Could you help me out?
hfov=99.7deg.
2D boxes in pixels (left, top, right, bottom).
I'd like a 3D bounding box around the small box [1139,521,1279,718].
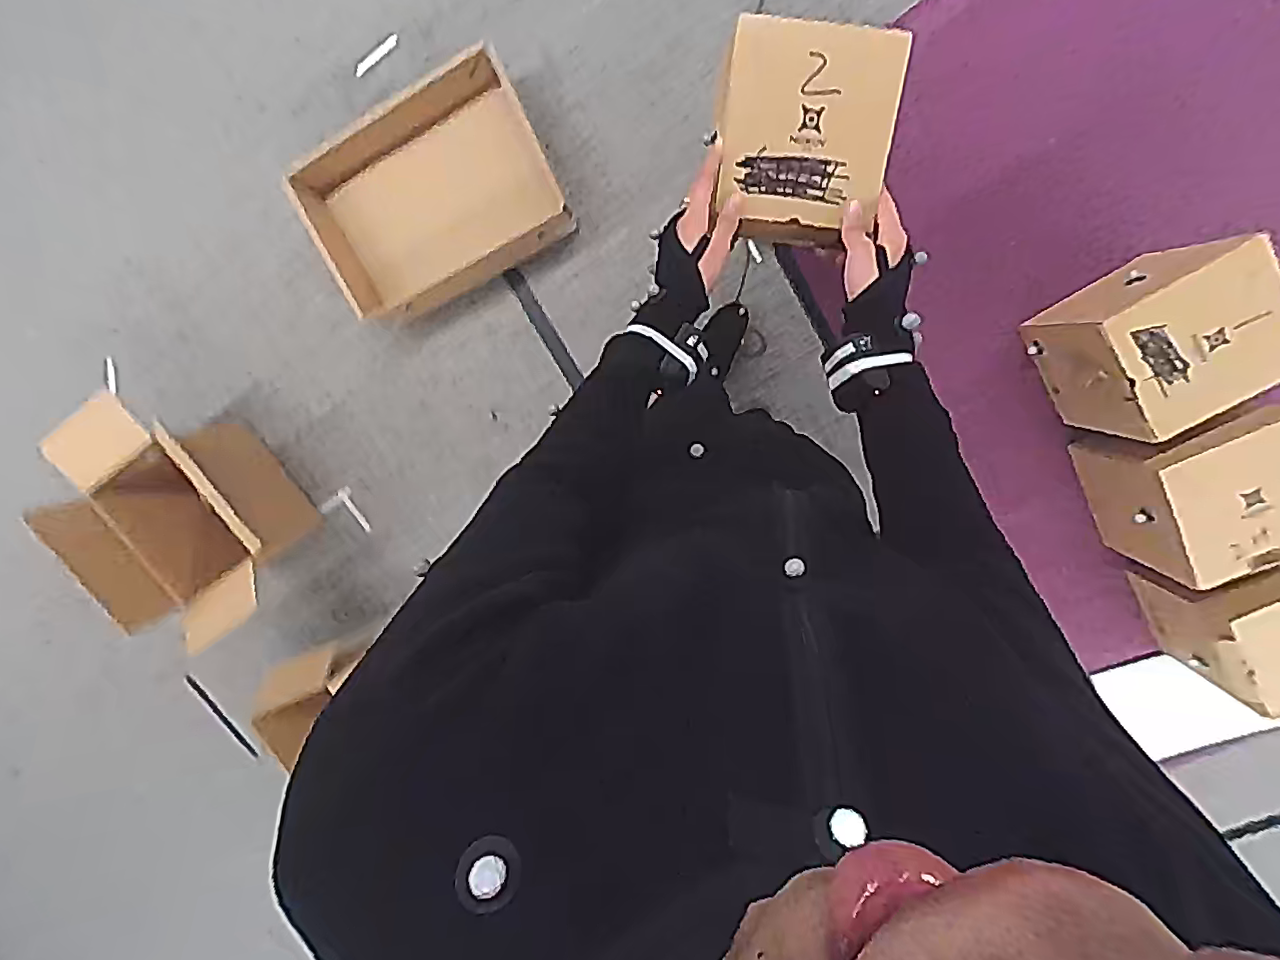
[{"bbox_3d":[0.850,0.182,0.745,0.179,0.176,0.168,-29,100,11],"label":"small box"}]
